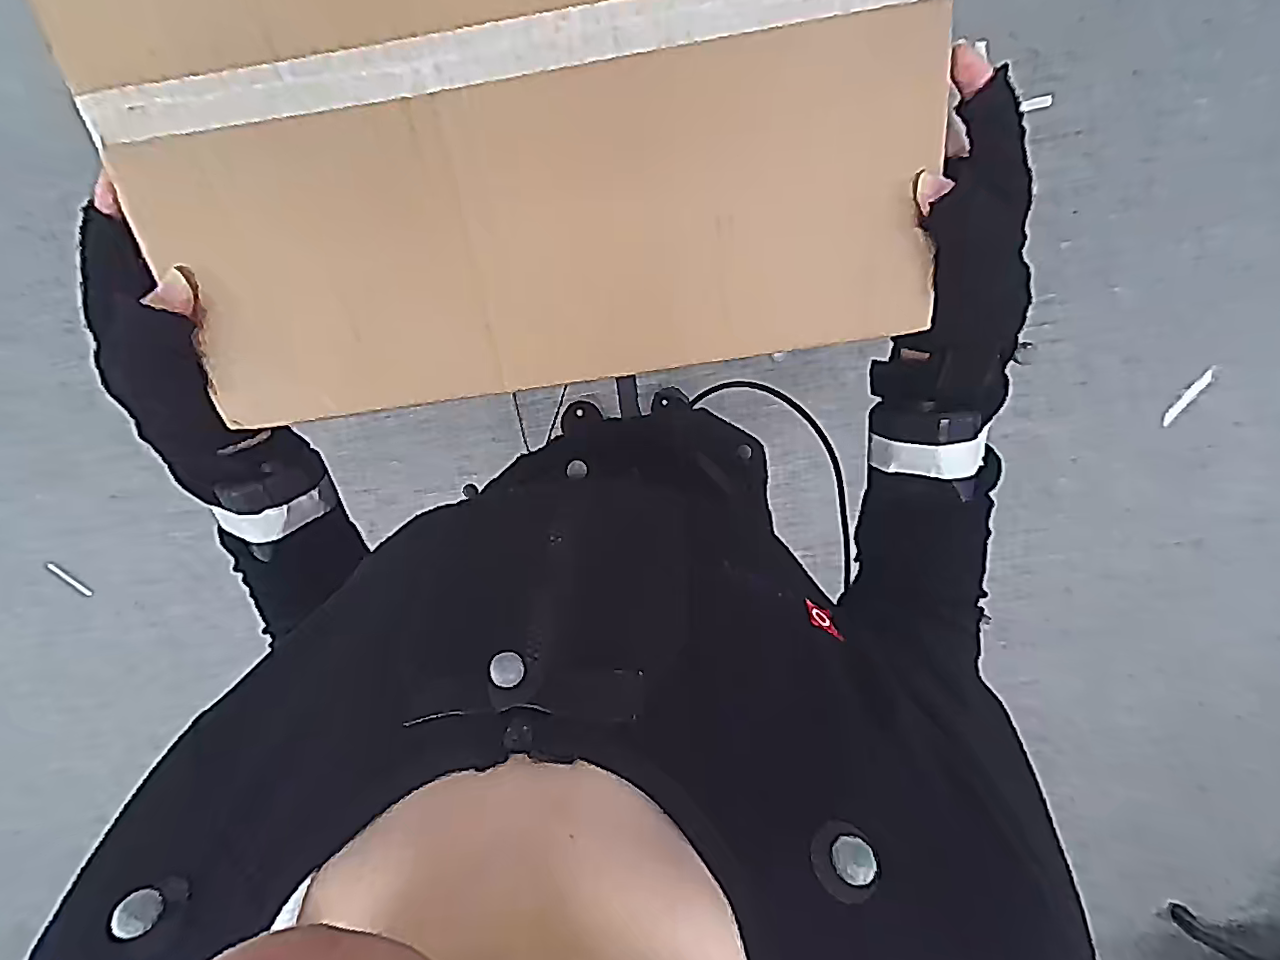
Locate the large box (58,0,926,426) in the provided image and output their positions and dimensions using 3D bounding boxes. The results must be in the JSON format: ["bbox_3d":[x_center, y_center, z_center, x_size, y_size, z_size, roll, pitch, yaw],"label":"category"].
[{"bbox_3d":[-0.062,-0.258,0.396,0.408,0.320,0.320,-8,112,3],"label":"large box"}]
